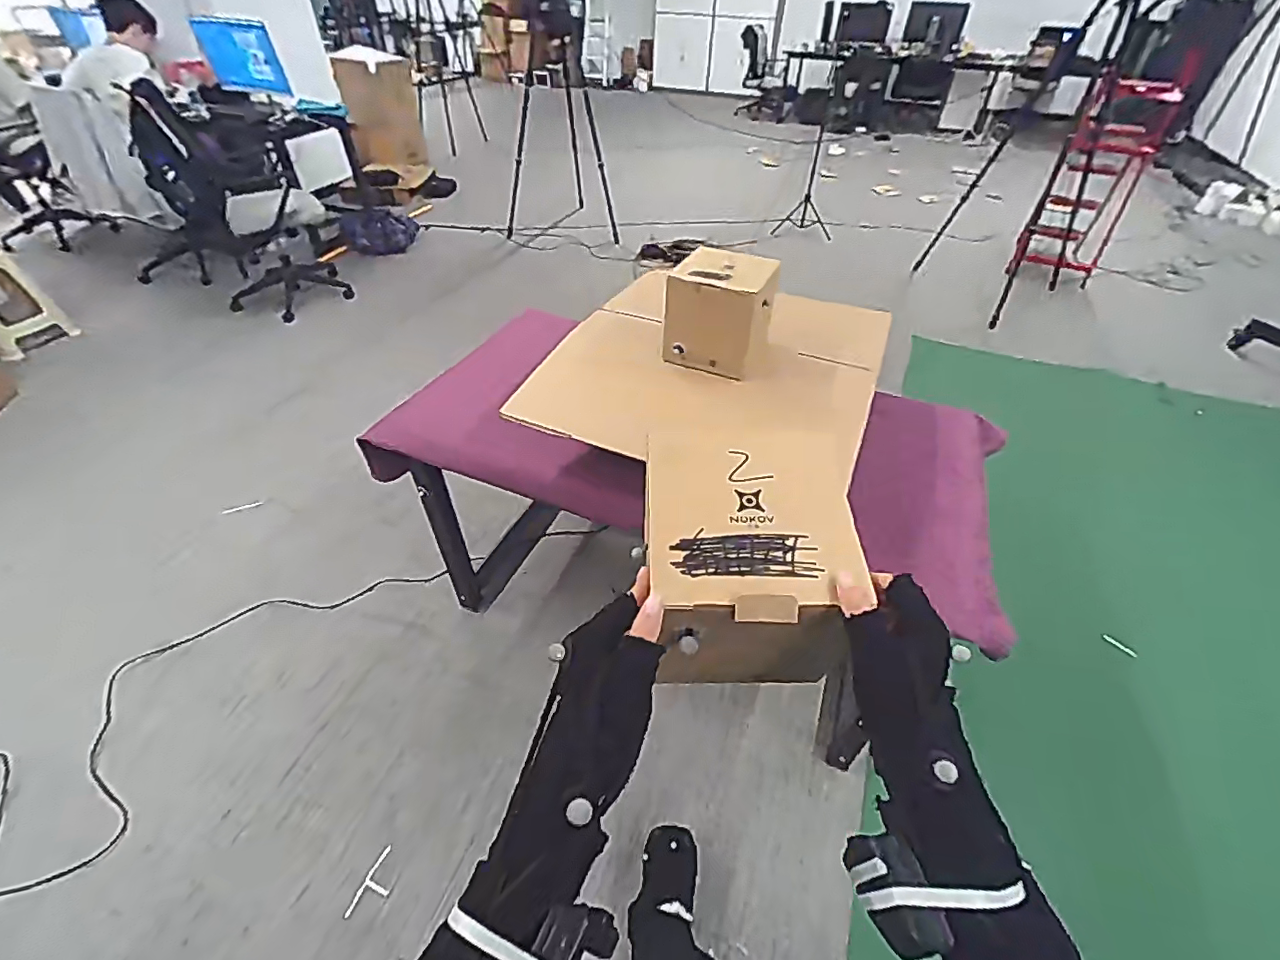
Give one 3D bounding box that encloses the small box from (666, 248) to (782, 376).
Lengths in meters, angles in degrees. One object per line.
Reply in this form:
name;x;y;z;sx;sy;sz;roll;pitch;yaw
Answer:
small box;0.157;-0.321;1.034;0.168;0.176;0.179;18;44;17
